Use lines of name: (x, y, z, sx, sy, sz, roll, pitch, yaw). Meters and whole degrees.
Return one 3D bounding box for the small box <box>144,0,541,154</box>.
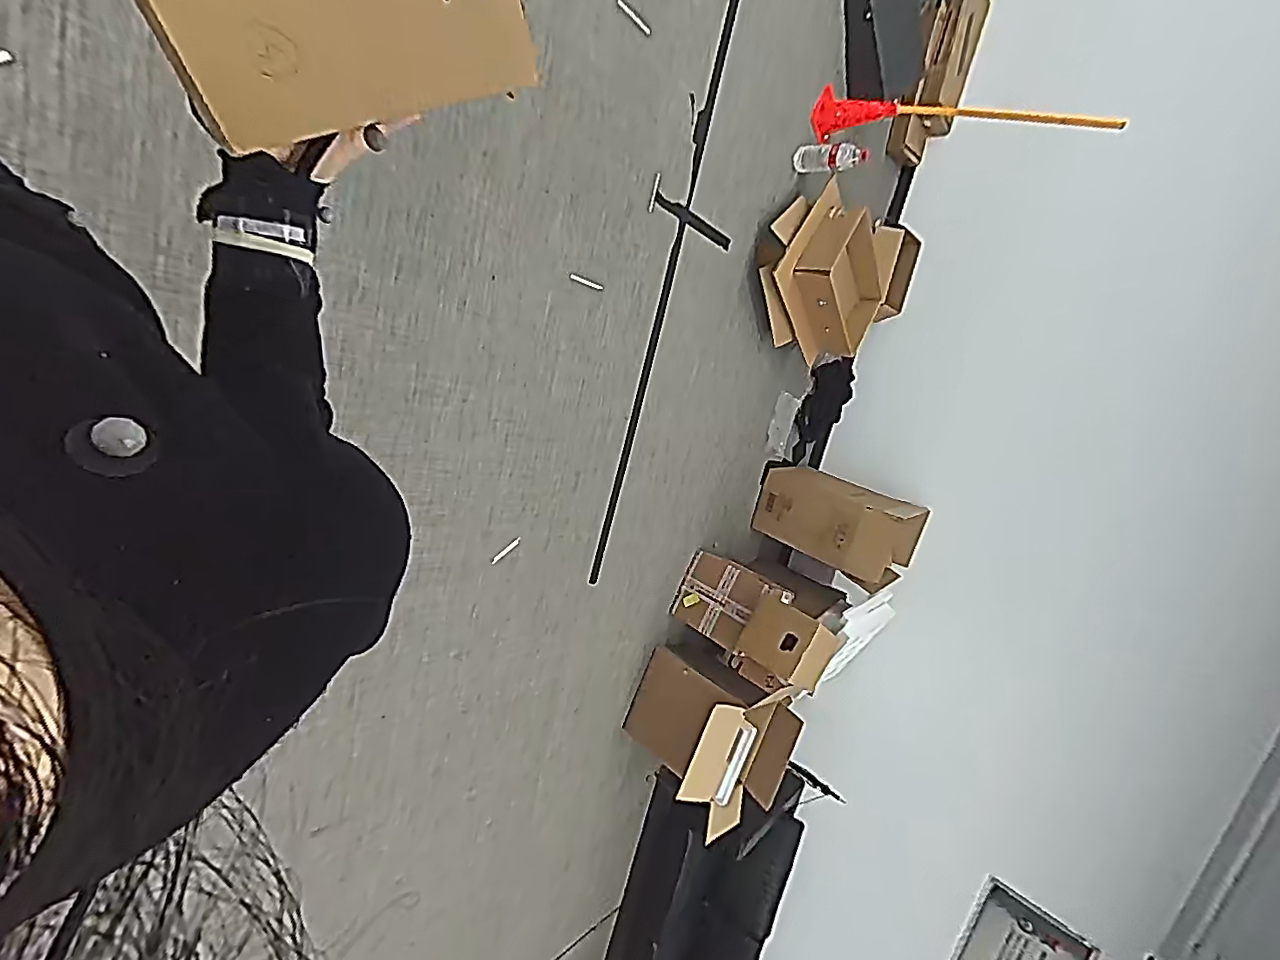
small box: (-0.187, -0.298, 0.303, 0.179, 0.176, 0.168, -31, 135, -22)
